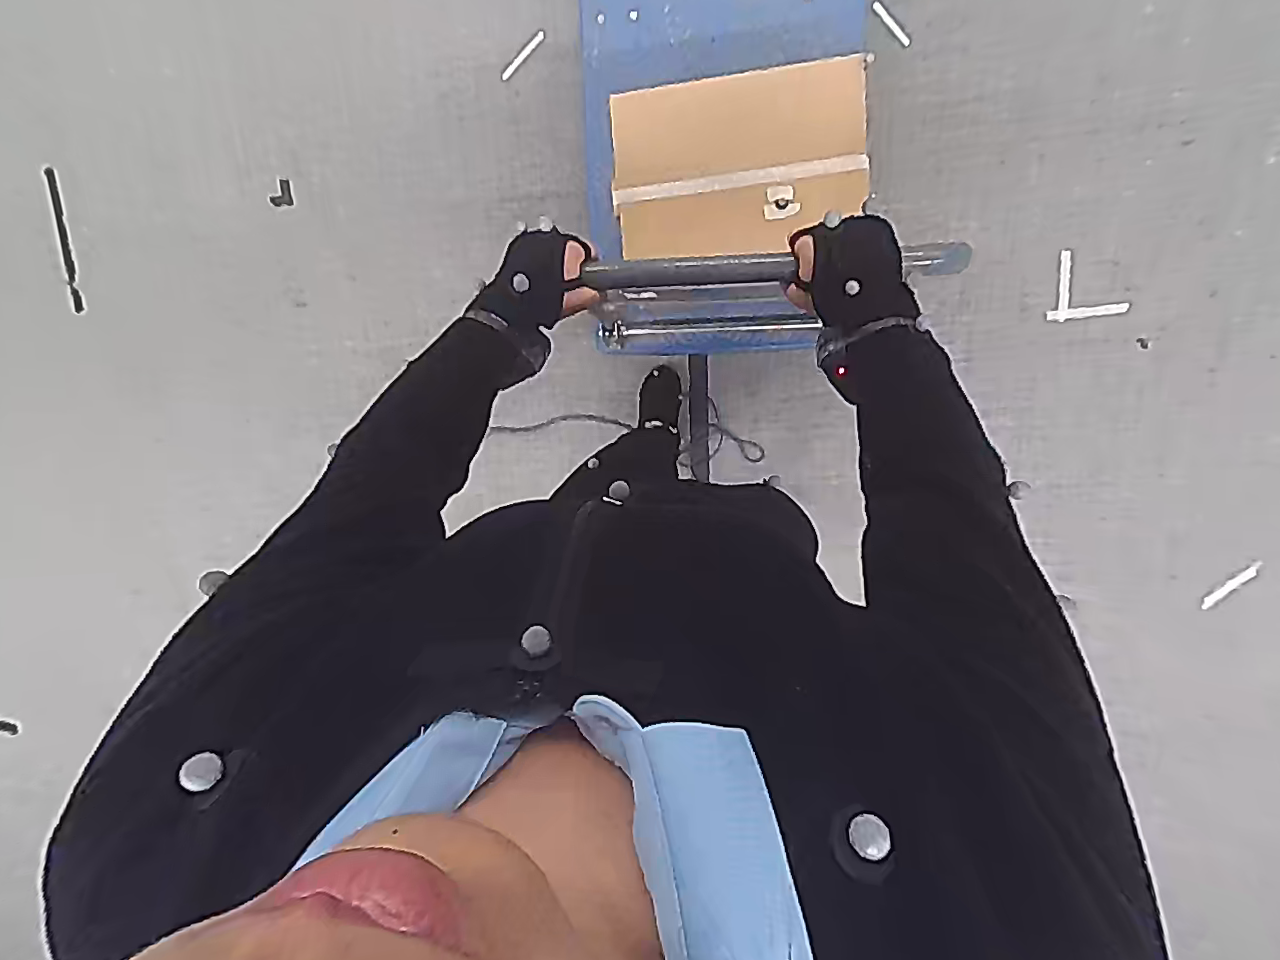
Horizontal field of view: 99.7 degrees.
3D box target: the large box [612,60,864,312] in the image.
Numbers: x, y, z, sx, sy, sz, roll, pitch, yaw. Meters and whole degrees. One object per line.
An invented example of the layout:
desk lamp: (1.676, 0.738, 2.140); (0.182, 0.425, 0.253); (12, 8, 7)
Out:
large box: (0.179, -0.524, 1.047); (0.408, 0.320, 0.320); (-4, 101, 7)
